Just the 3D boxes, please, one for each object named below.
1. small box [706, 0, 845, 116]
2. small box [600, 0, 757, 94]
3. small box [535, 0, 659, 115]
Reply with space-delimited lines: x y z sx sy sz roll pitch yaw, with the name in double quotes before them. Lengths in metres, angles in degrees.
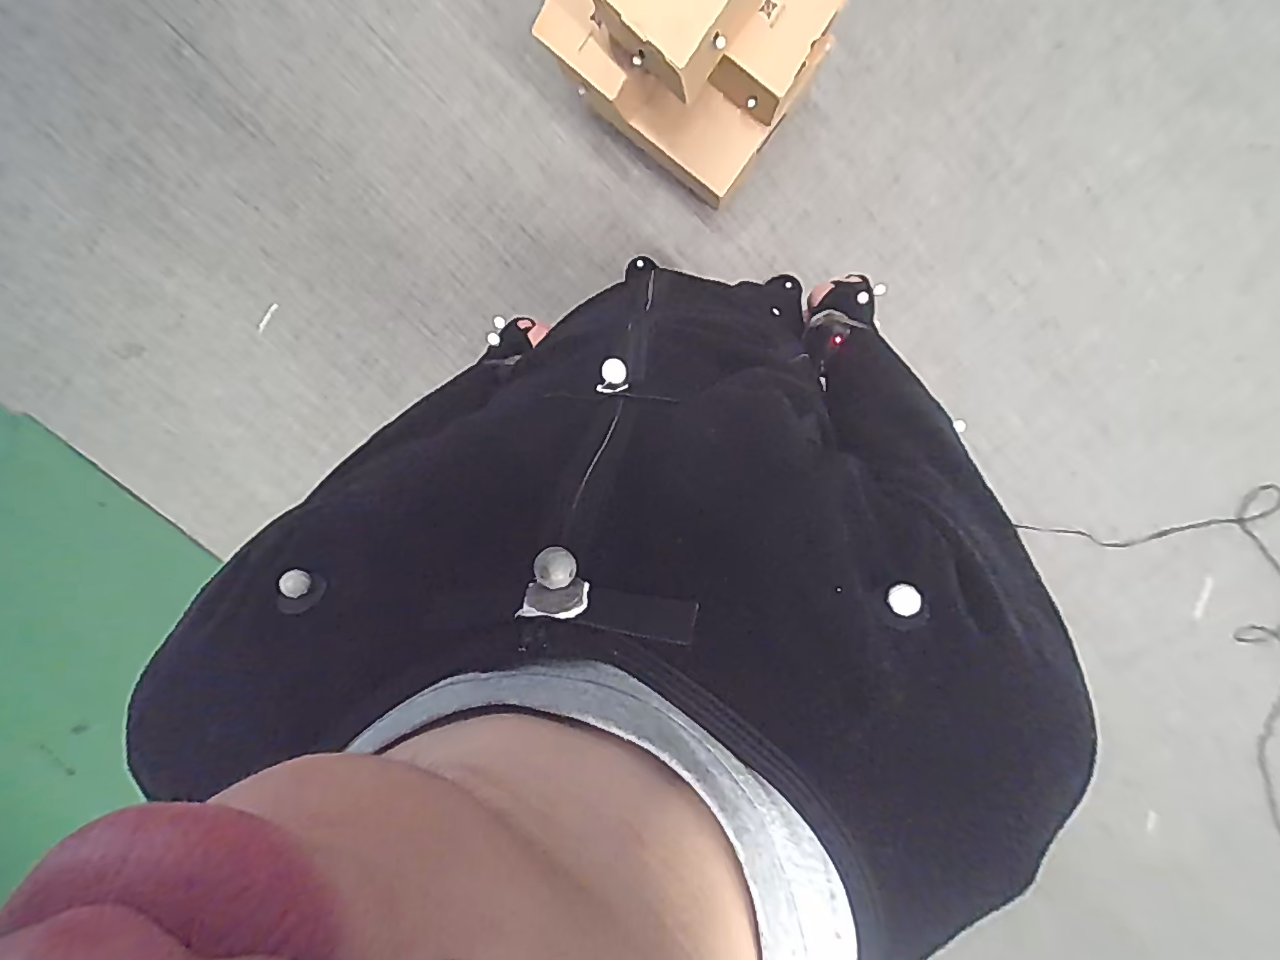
"small box" 0.204 -0.736 0.884 0.179 0.176 0.168 34 109 -5
"small box" 0.057 -0.683 0.744 0.168 0.176 0.179 39 113 -8
"small box" -0.044 -0.762 0.906 0.168 0.176 0.179 38 114 -8
